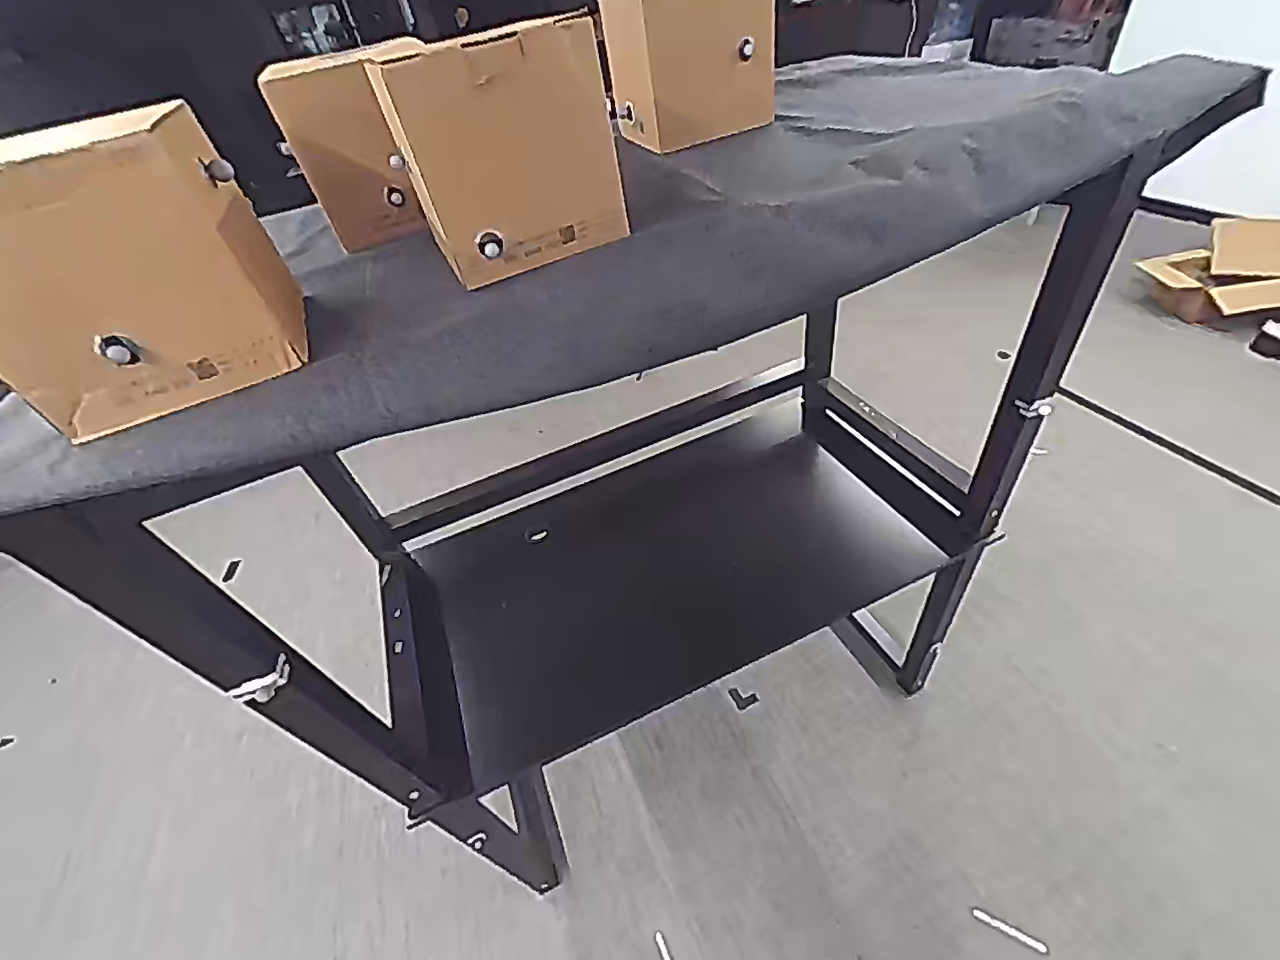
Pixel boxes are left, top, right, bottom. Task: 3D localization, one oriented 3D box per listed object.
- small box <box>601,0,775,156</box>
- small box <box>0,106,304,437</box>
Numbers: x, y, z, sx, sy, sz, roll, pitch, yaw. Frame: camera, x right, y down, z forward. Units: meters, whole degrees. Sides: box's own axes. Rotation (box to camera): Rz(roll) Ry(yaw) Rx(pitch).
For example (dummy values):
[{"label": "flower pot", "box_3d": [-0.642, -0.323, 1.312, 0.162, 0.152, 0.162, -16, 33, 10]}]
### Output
[{"label": "small box", "box_3d": [0.064, -0.565, 0.735, 0.179, 0.176, 0.168, -21, 43, -9]}, {"label": "small box", "box_3d": [-0.386, -0.162, 0.413, 0.168, 0.176, 0.179, -25, 46, -13]}]
